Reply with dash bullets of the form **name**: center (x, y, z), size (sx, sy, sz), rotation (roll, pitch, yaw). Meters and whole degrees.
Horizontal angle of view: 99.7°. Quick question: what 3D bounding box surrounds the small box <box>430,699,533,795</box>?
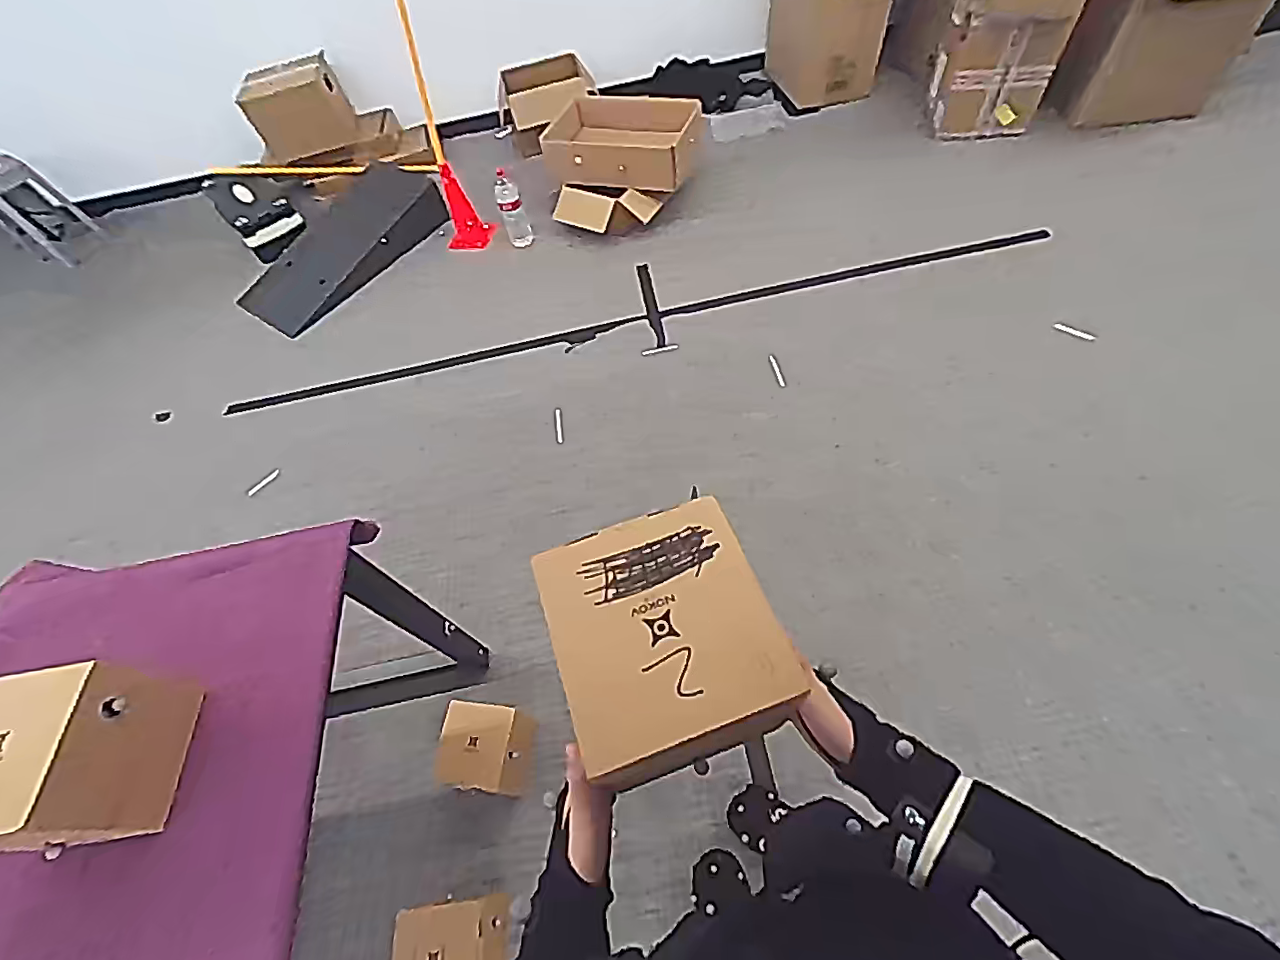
- **small box**: center (-0.369, 0.643, 1.298), size (0.168, 0.176, 0.179), rotation (3, 59, 10)

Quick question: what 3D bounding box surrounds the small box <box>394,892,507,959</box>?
- **small box**: center (-0.378, 0.957, 1.100), size (0.179, 0.176, 0.168), rotation (-11, 56, 3)

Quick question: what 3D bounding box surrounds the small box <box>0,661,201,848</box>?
- **small box**: center (-0.698, 0.342, 0.665), size (0.168, 0.176, 0.179), rotation (-10, 57, 3)
